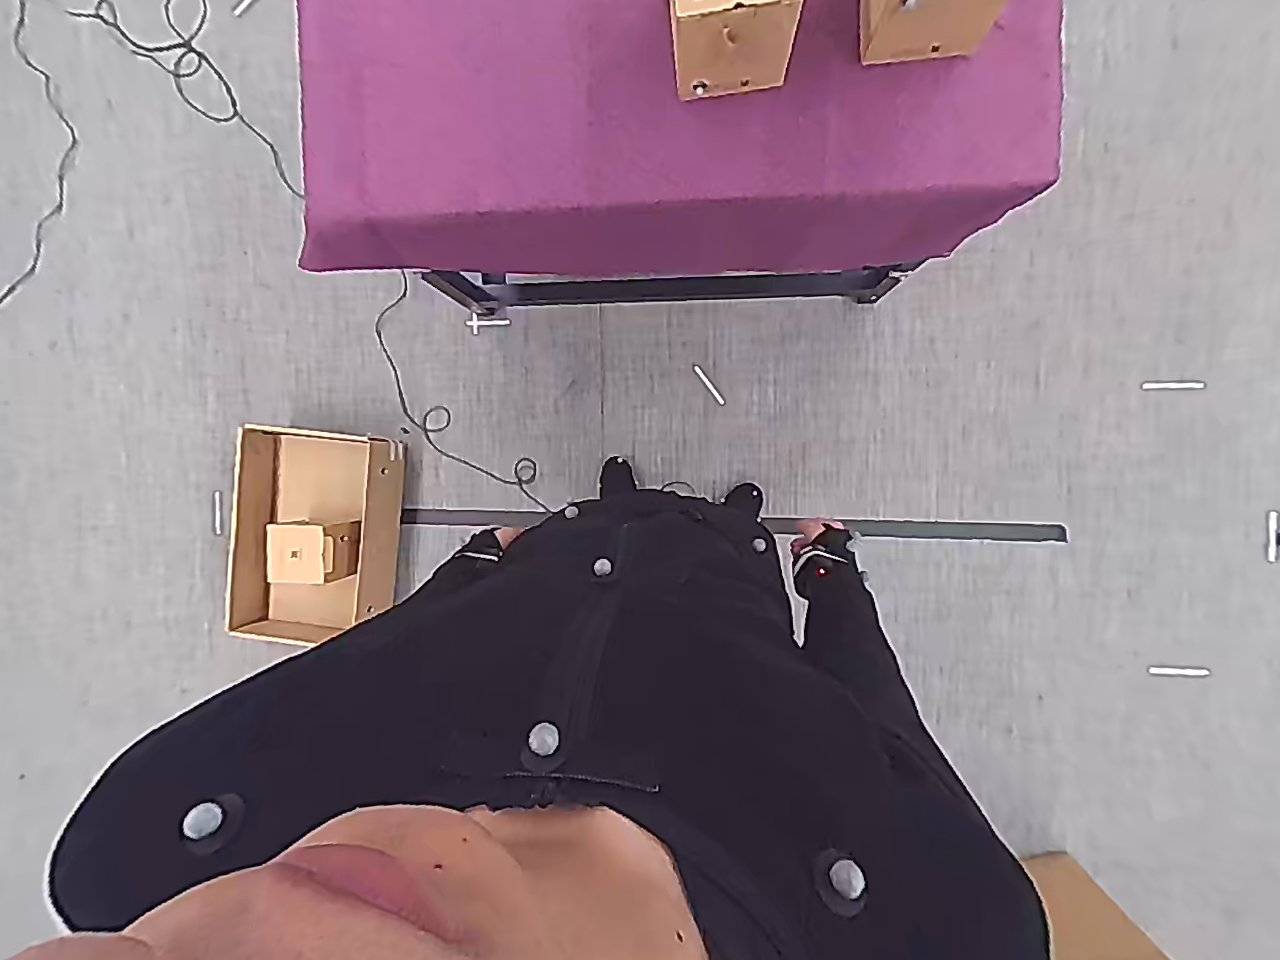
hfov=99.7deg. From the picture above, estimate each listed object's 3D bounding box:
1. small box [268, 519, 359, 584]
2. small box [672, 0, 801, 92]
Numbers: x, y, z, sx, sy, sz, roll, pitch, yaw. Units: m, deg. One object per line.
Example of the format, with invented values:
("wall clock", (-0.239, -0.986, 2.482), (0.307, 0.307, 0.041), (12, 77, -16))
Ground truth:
("small box", (-0.952, 0.204, 1.589), (0.179, 0.176, 0.168), (1, 91, 5))
("small box", (0.130, -0.695, 0.775), (0.168, 0.176, 0.179), (-5, 91, 5))
